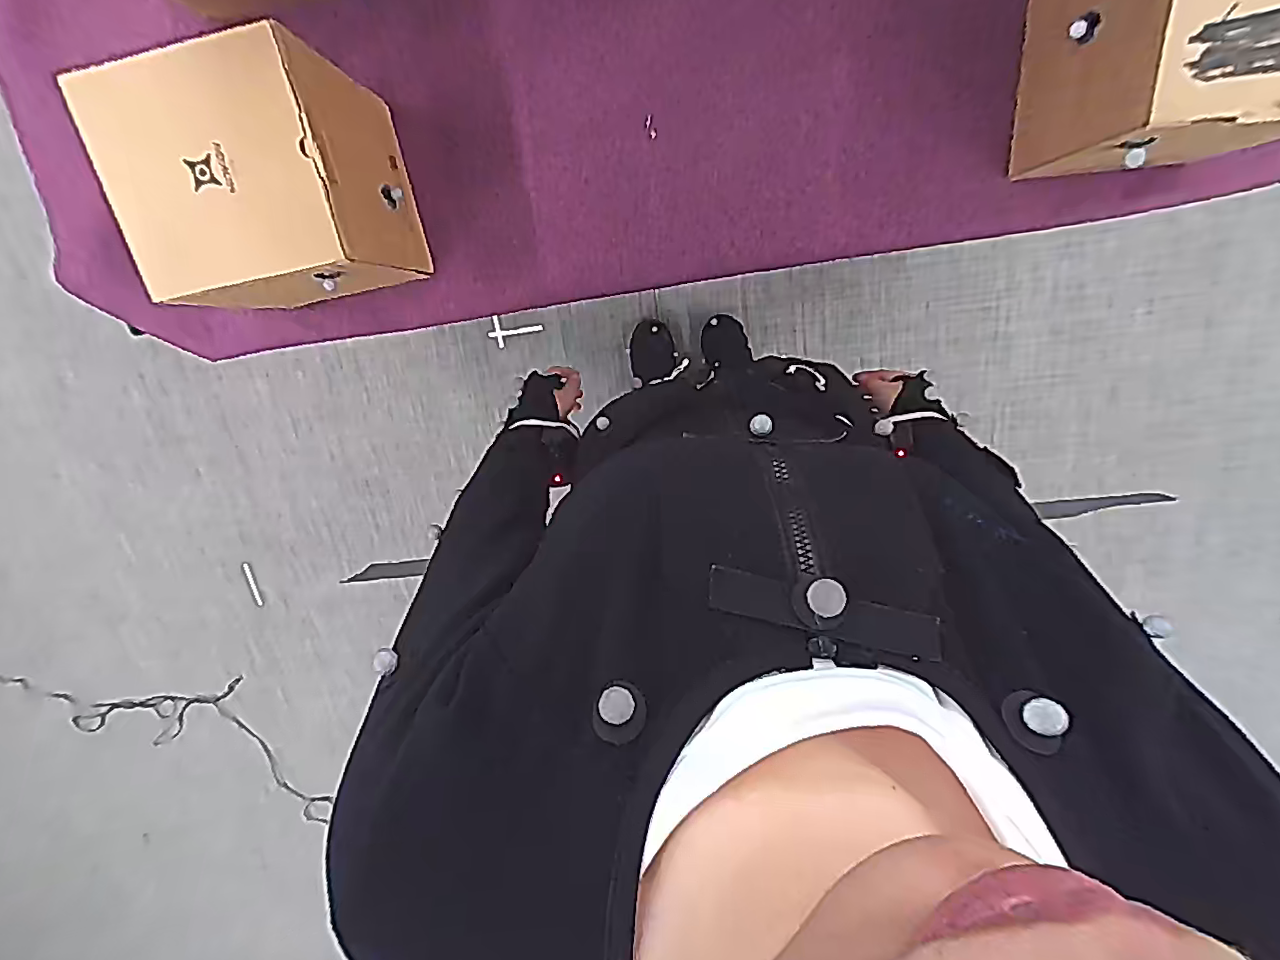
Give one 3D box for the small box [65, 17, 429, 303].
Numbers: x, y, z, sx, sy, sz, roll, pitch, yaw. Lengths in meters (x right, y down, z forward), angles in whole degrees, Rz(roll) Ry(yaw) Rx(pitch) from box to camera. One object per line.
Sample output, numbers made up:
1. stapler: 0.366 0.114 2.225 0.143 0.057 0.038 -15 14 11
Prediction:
1. small box: -0.327 -0.263 0.493 0.179 0.176 0.168 -11 106 5
